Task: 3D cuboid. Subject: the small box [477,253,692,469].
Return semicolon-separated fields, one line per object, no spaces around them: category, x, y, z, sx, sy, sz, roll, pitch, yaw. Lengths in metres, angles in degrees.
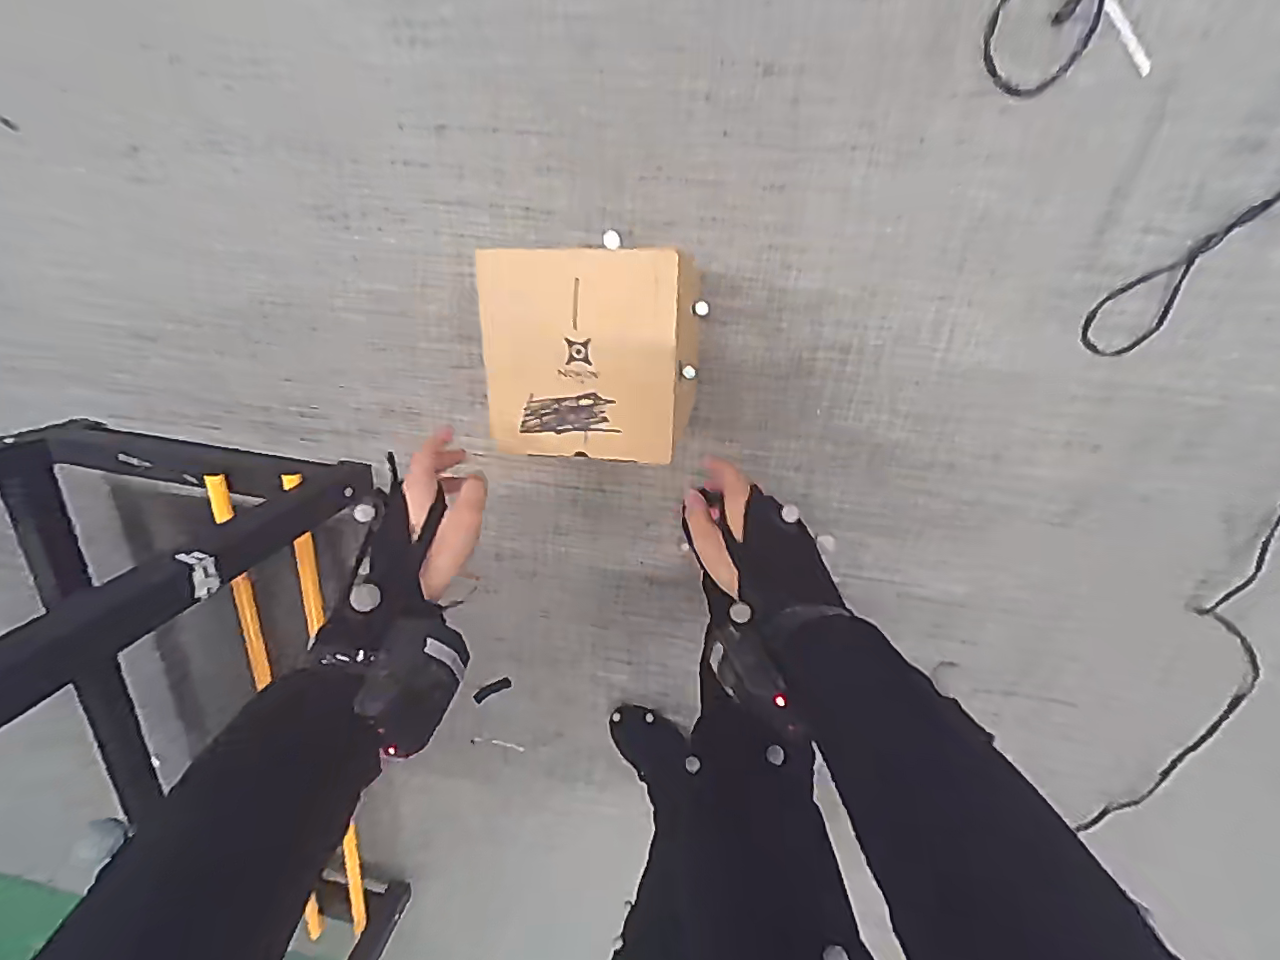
small box;-0.039;-0.124;0.527;0.168;0.176;0.179;4;111;8

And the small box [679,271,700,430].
small box;-0.014;-0.171;0.682;0.168;0.176;0.179;3;112;10
